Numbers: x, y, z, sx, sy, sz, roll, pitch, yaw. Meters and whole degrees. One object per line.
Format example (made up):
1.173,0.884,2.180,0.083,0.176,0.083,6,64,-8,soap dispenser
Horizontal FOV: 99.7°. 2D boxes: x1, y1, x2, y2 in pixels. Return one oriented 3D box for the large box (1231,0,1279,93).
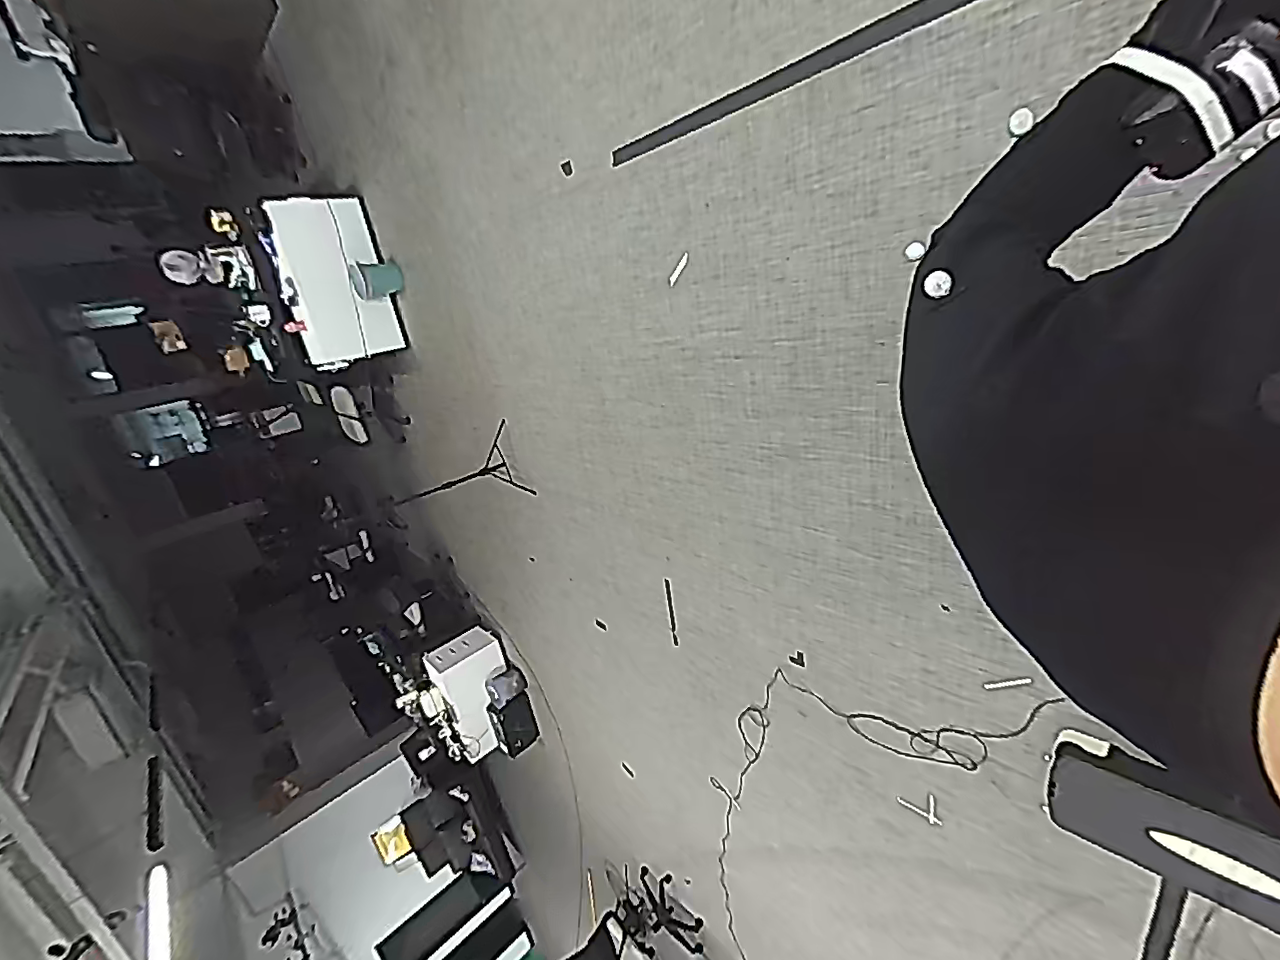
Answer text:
1.007,-0.721,0.633,0.408,0.320,0.320,9,118,46,large box
